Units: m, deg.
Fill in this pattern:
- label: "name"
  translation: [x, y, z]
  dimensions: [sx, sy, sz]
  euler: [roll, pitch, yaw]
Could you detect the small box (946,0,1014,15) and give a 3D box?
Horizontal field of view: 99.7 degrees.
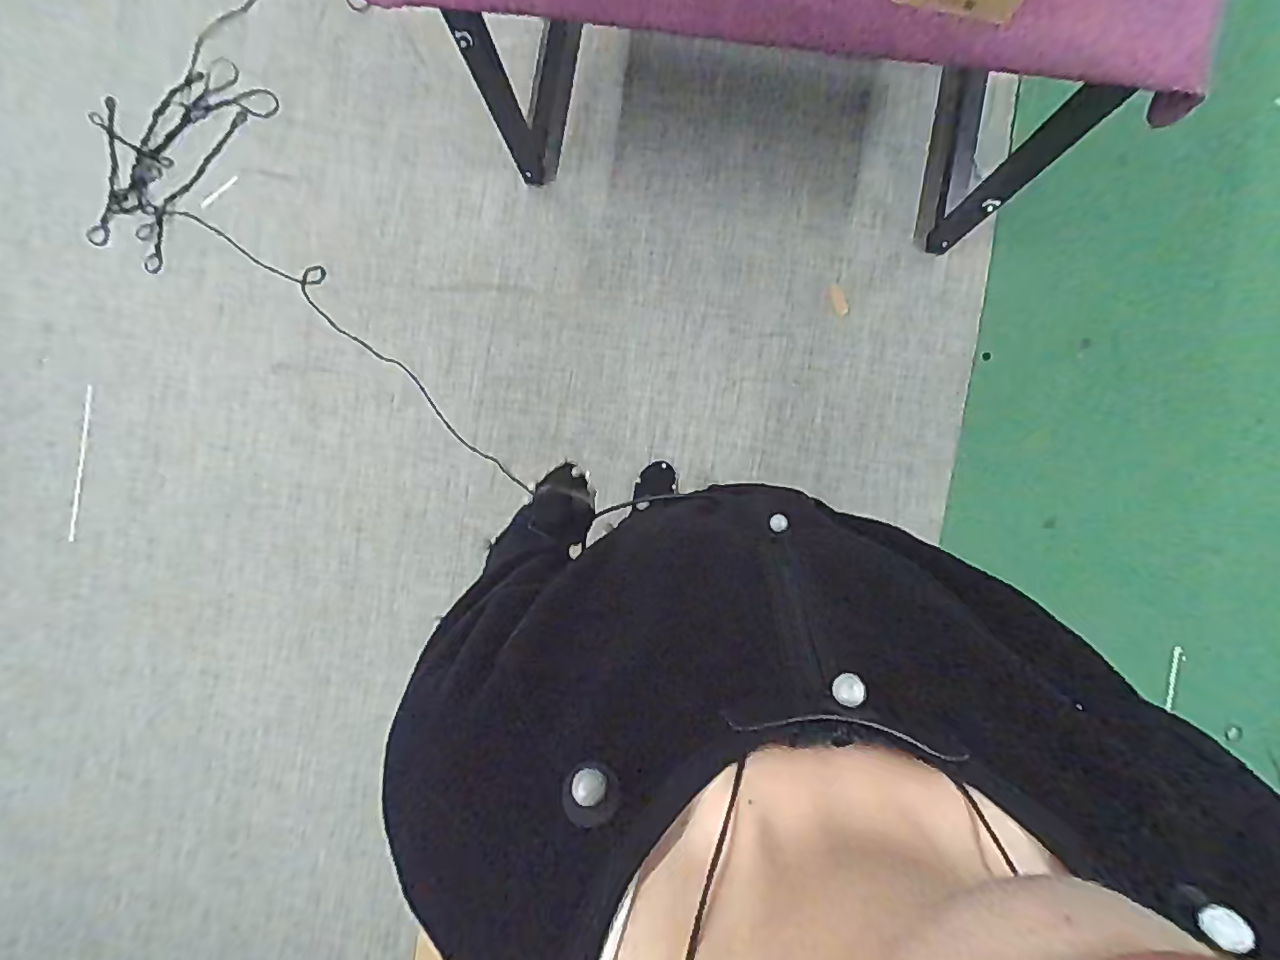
- label: "small box"
  translation: [0.452, -0.749, 0.682]
  dimensions: [0.168, 0.176, 0.179]
  euler: [16, 91, 3]
